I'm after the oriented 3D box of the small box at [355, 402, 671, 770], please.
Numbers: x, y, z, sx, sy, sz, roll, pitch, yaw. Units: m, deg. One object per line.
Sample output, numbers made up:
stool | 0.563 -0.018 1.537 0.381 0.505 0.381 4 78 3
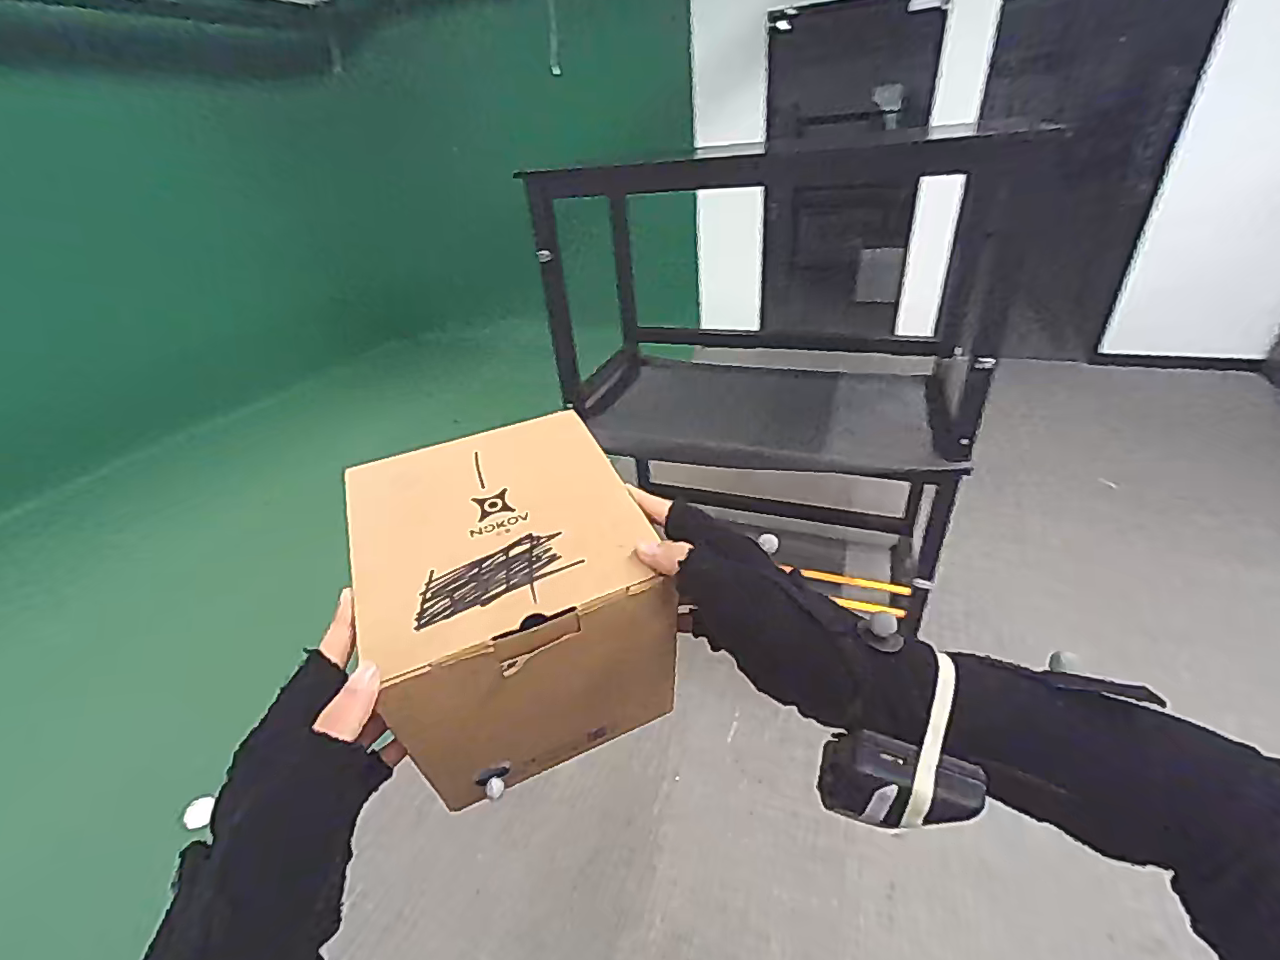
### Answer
small box | -0.085 0.074 0.385 0.168 0.176 0.179 -17 42 -17
